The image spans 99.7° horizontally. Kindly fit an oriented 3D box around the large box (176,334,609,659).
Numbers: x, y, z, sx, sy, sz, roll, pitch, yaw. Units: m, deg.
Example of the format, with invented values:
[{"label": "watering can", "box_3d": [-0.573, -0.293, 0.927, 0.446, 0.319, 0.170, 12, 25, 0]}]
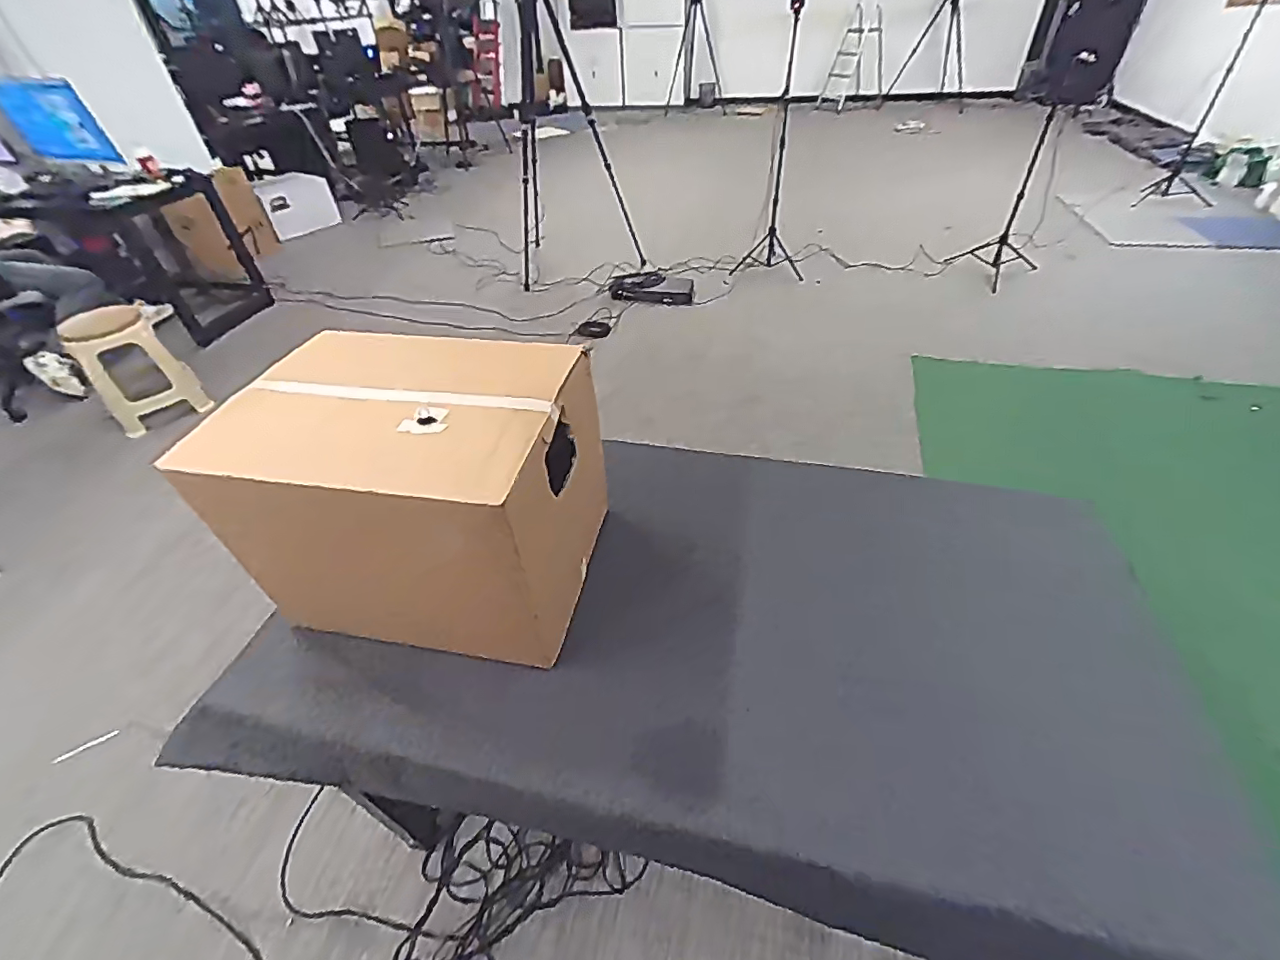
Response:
[{"label": "large box", "box_3d": [-0.278, 0.015, 0.758, 0.408, 0.320, 0.320, 6, 44, 9]}]
